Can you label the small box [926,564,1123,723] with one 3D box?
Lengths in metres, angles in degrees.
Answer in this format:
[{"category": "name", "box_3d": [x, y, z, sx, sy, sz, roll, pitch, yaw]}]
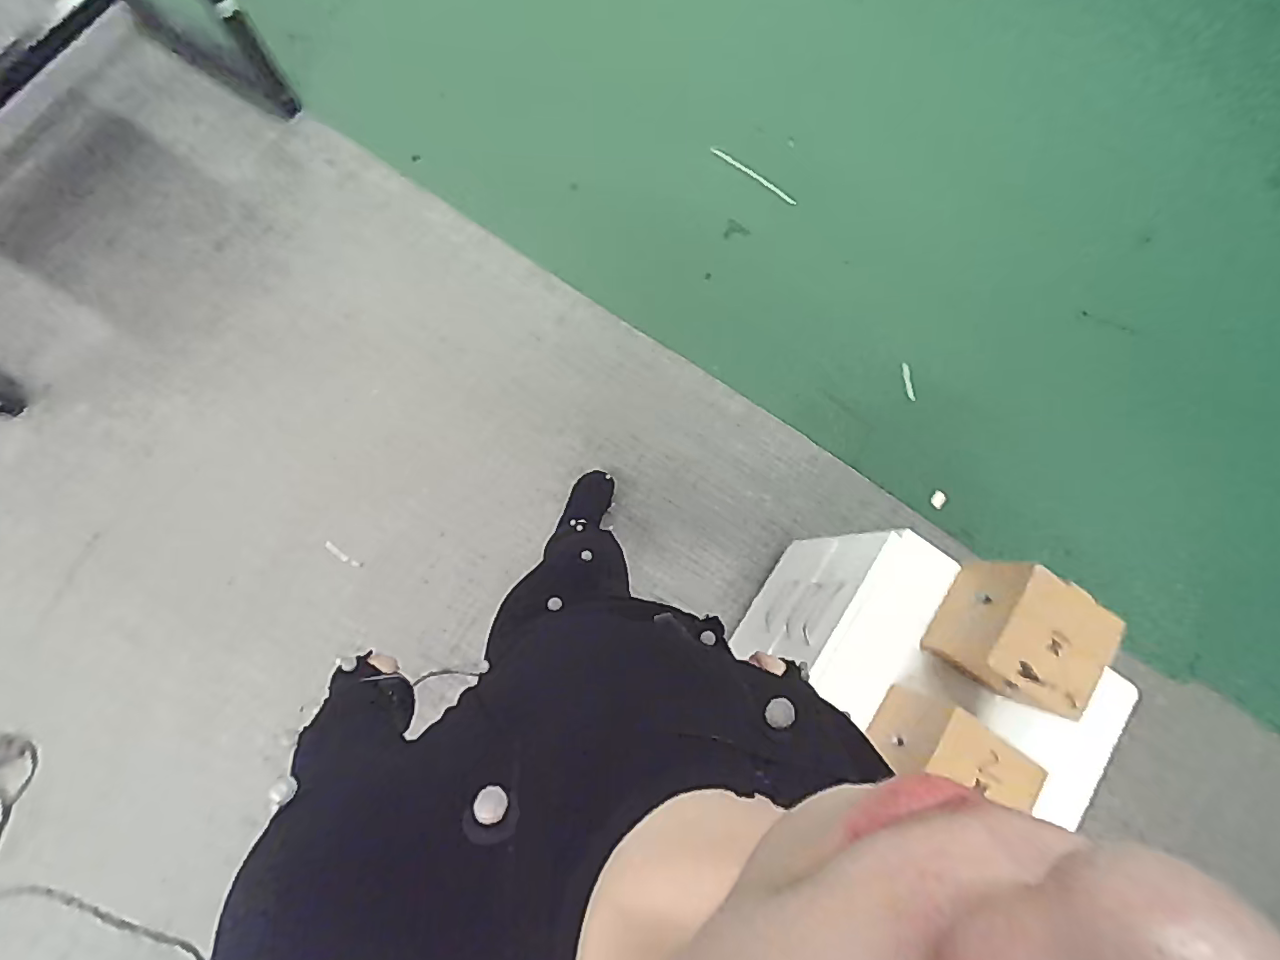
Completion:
[{"category": "small box", "box_3d": [0.608, 0.251, 0.878, 0.168, 0.176, 0.179, 34, 80, 1]}]
